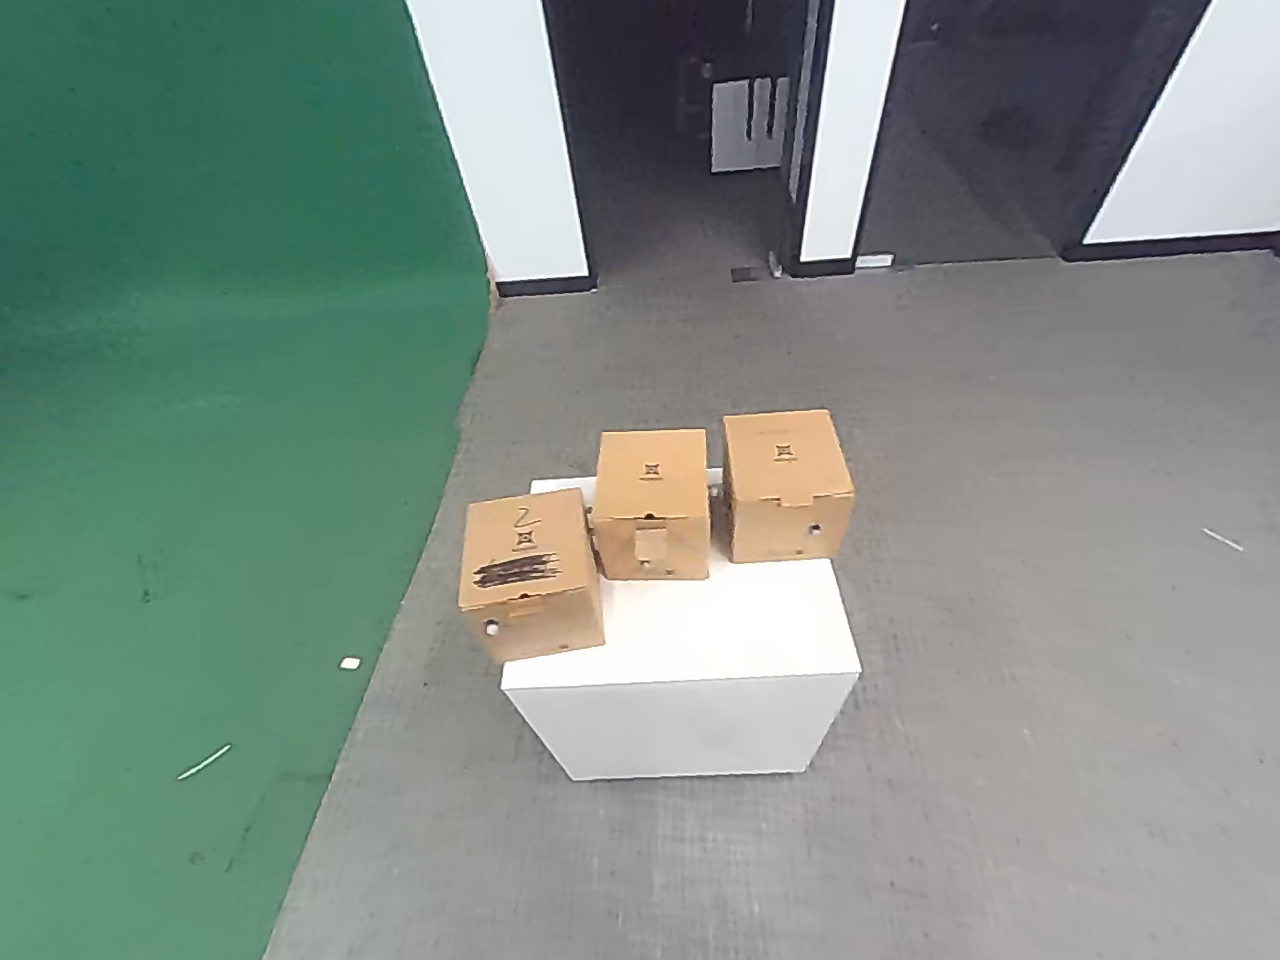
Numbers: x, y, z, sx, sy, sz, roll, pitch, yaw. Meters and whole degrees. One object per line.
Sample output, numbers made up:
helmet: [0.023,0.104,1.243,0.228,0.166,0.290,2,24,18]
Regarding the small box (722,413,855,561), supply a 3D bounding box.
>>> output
small box: [0.222,0.017,0.858,0.168,0.176,0.179,-3,48,3]
